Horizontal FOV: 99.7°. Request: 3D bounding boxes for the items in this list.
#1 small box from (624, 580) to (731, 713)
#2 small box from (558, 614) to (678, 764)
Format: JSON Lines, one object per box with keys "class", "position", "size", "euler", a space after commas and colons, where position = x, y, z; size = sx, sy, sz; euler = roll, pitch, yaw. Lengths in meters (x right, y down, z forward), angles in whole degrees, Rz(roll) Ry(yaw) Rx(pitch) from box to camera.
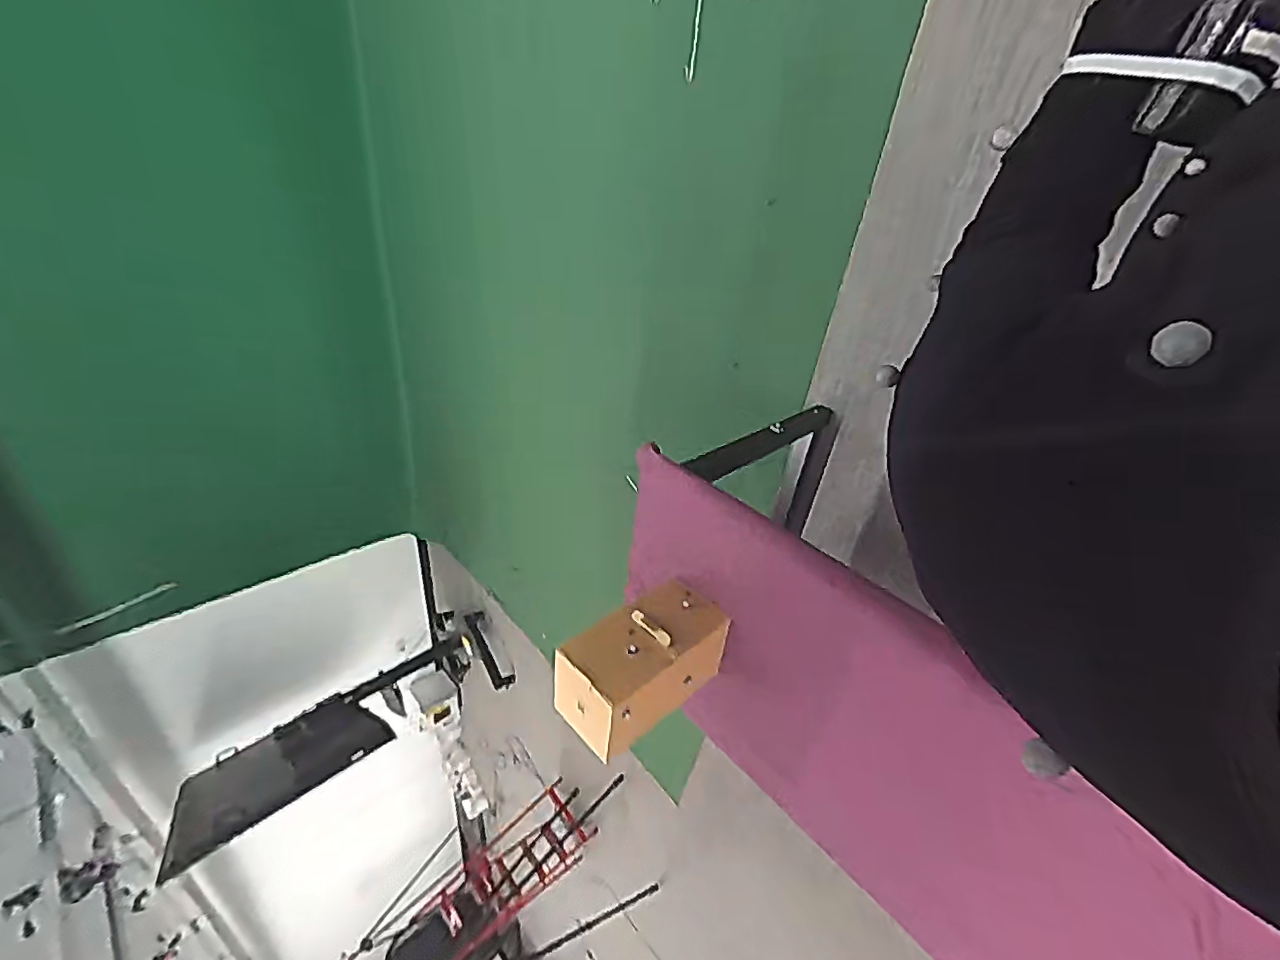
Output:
{"class": "small box", "position": [0.074, 0.350, 1.160], "size": [0.168, 0.176, 0.179], "euler": [31, 129, 35]}
{"class": "small box", "position": [-0.044, 0.402, 1.061], "size": [0.168, 0.176, 0.179], "euler": [32, 129, 35]}
